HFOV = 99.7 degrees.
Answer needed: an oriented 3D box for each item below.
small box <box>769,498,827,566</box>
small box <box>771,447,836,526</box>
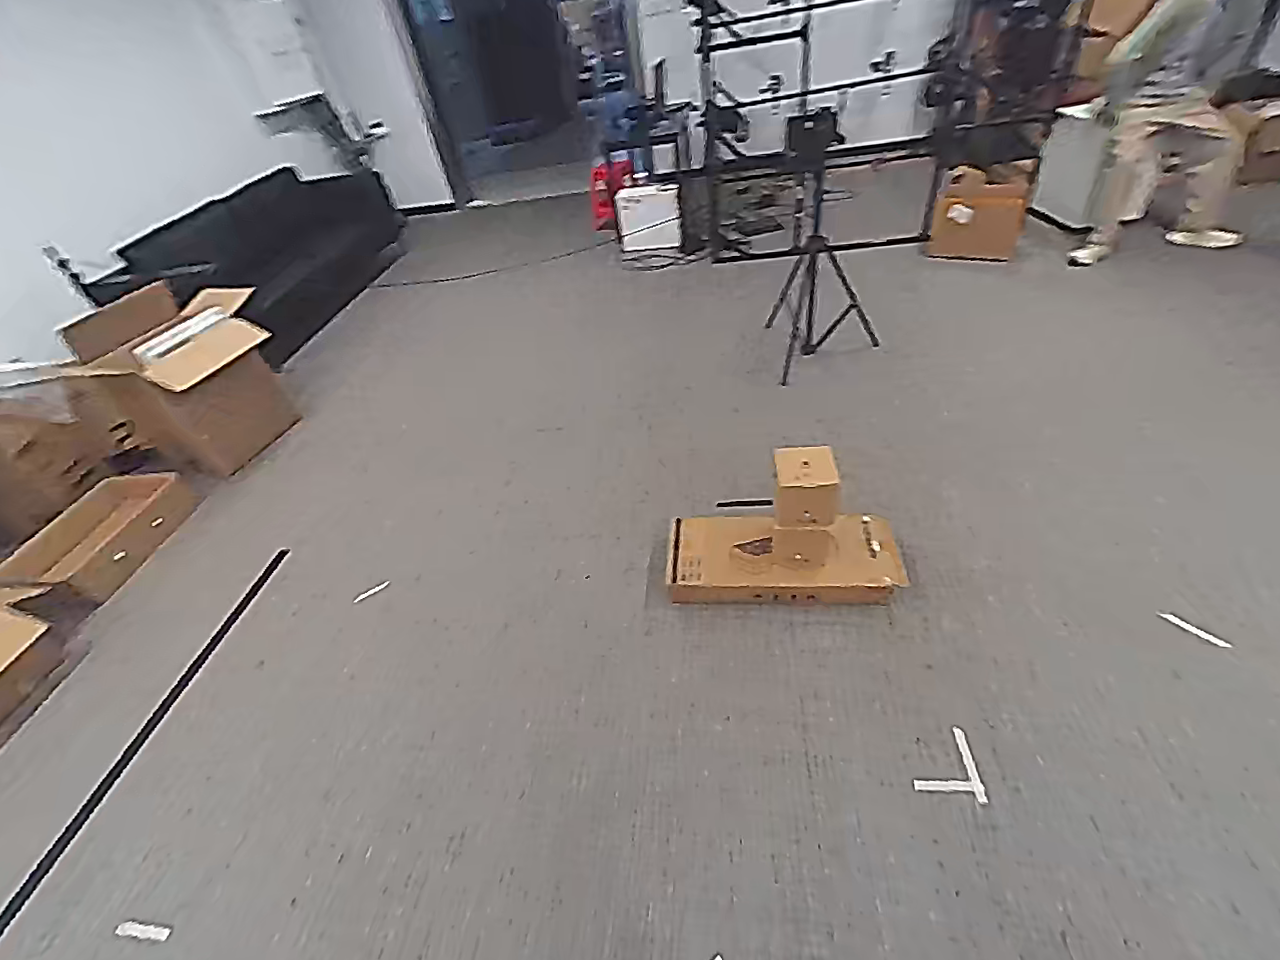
[{"bbox_3d":[0.504,0.152,1.739,0.168,0.176,0.179,0,43,13],"label":"small box"},{"bbox_3d":[0.488,0.020,1.640,0.168,0.176,0.179,-3,42,10],"label":"small box"}]
